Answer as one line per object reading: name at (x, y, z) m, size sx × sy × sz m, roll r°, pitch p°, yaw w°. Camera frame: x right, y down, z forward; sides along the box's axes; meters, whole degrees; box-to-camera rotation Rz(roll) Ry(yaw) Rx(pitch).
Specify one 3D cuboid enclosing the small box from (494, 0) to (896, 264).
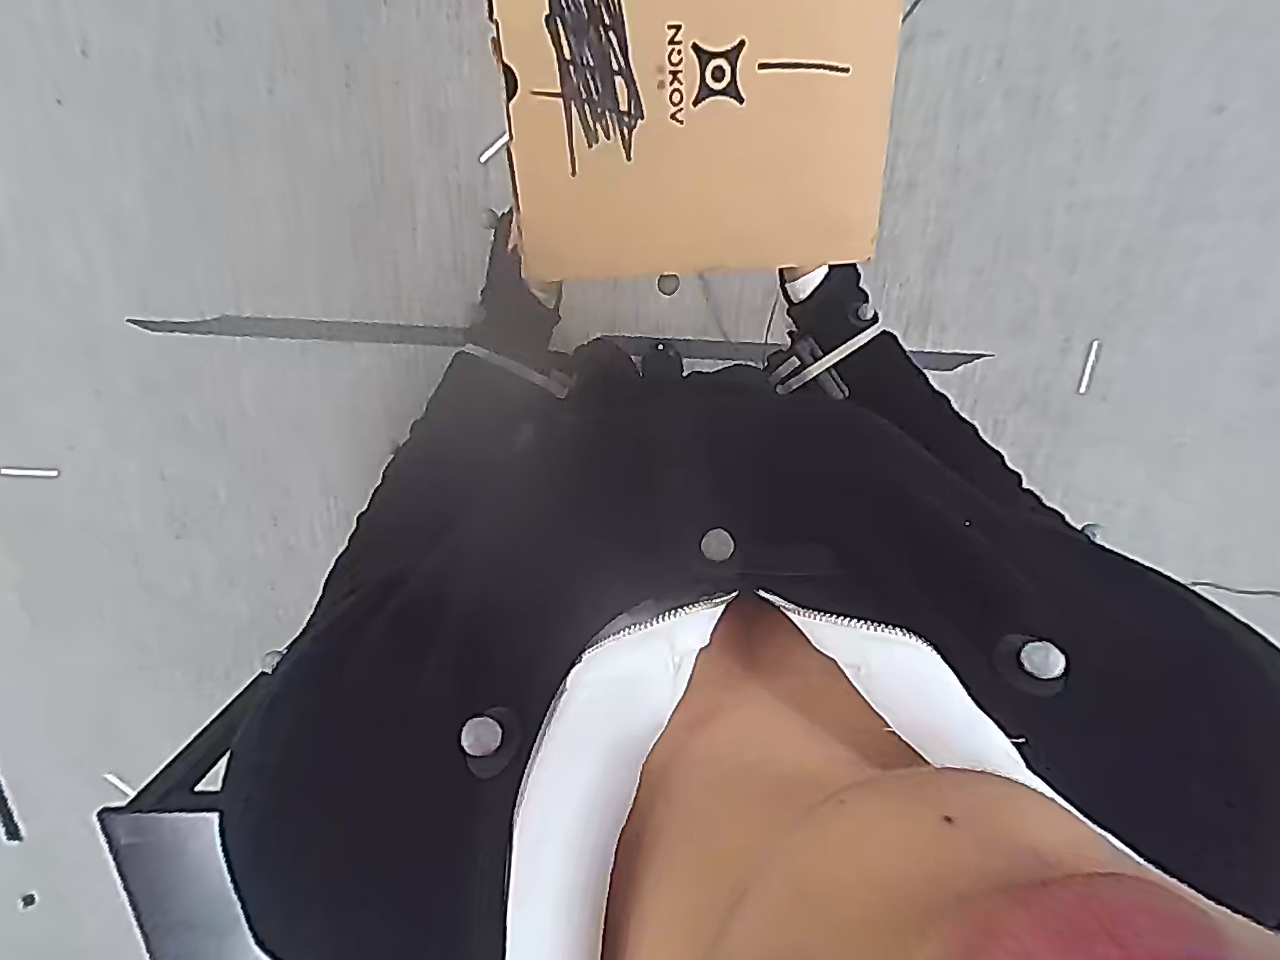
small box at (0.024, -0.219, 0.316) m, size 0.179 × 0.176 × 0.168 m, roll -4°, pitch 115°, yaw -1°
